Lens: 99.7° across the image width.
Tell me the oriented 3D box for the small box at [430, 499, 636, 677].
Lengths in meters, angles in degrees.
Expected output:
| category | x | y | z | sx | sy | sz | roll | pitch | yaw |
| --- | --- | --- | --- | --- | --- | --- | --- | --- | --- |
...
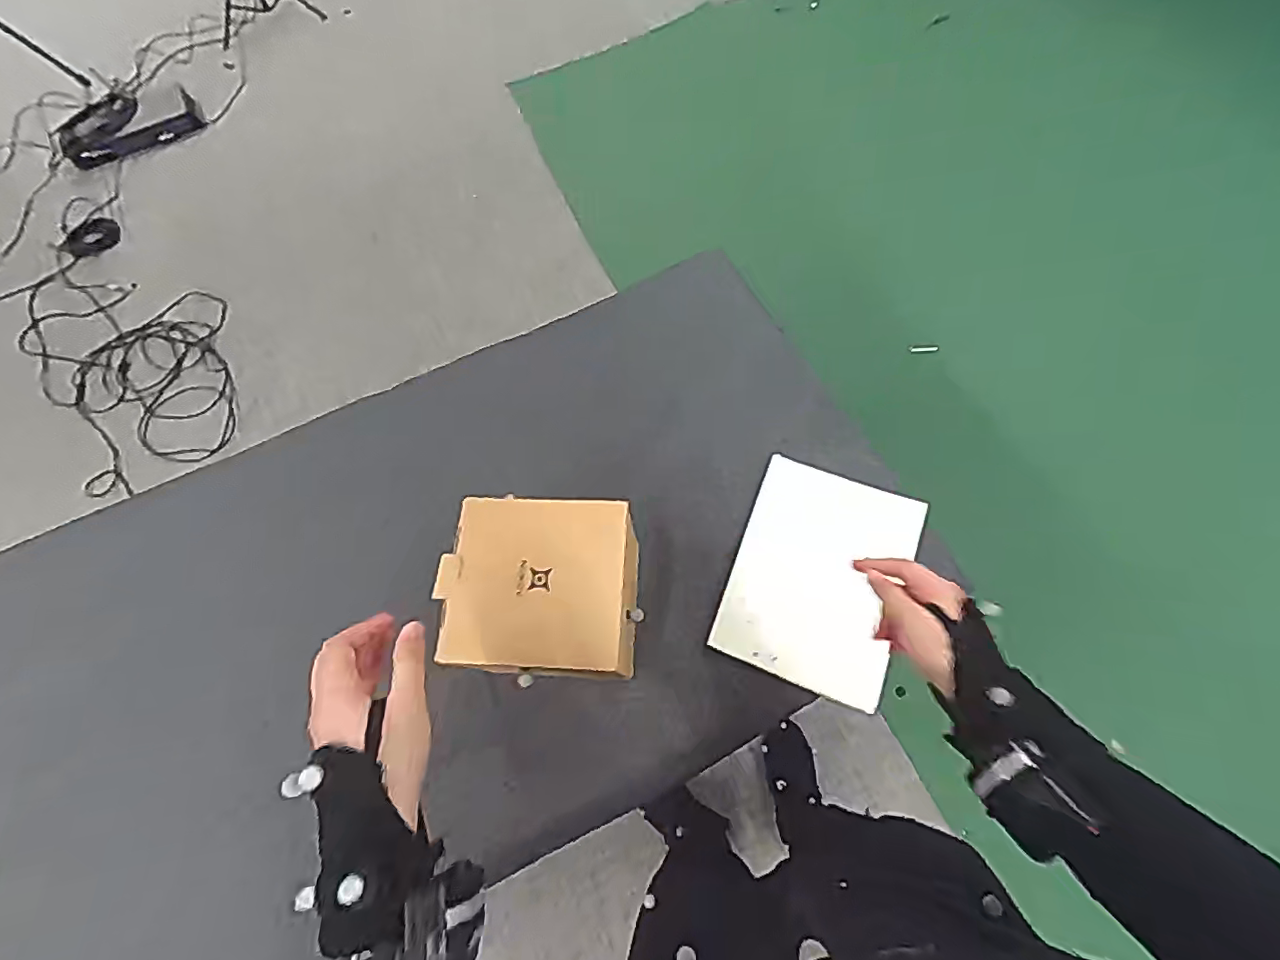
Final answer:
| category | x | y | z | sx | sy | sz | roll | pitch | yaw |
| --- | --- | --- | --- | --- | --- | --- | --- | --- | --- |
| small box | -0.099 | 0.126 | 0.597 | 0.179 | 0.176 | 0.168 | 1 | 69 | 6 |
